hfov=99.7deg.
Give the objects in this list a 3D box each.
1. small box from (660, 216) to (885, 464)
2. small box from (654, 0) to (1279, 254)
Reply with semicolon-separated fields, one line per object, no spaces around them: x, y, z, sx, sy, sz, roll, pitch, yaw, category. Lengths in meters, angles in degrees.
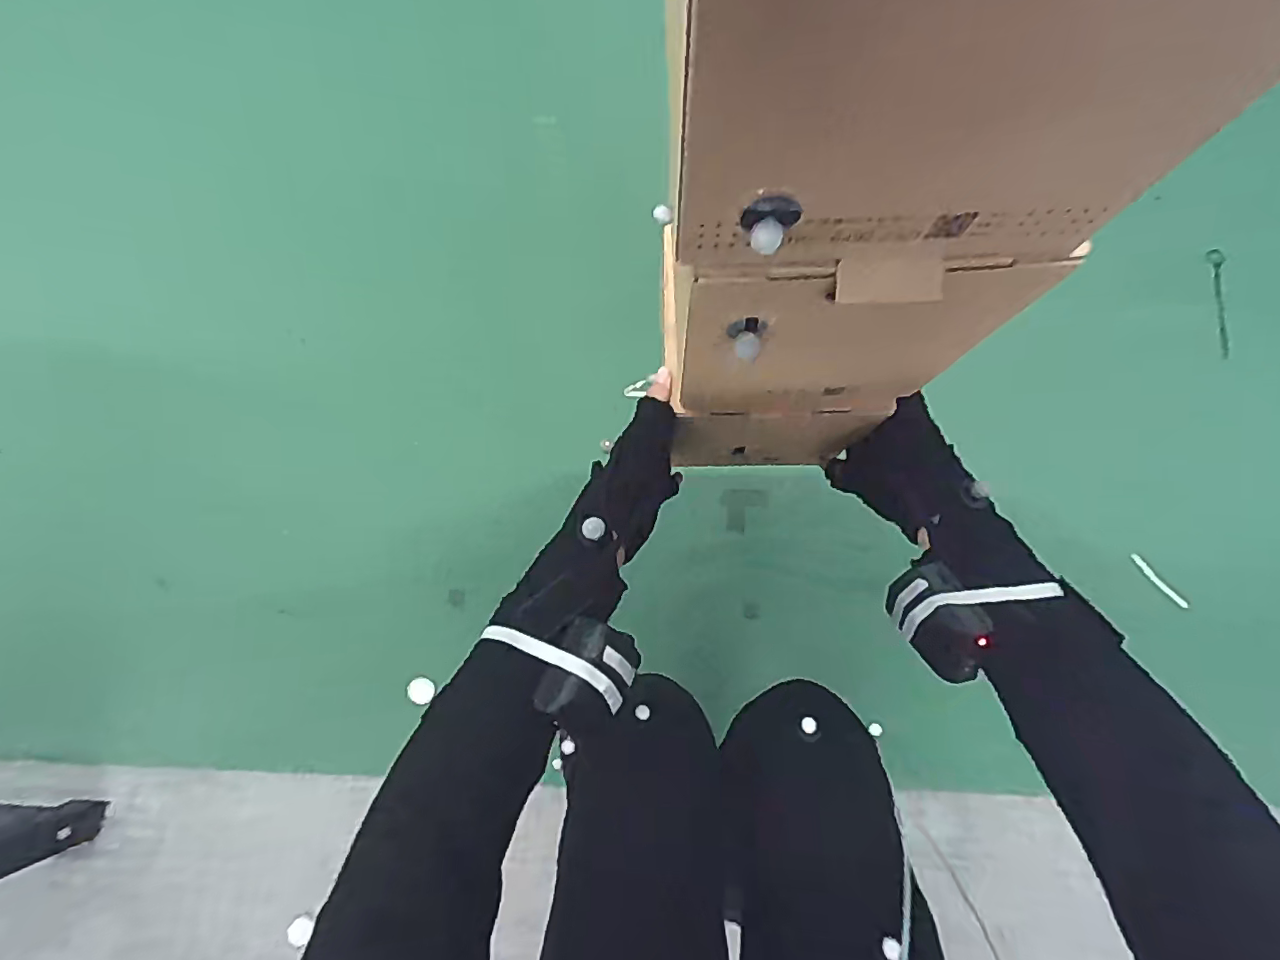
0.102;-0.117;0.495;0.168;0.176;0.179;-1;80;2;small box
0.087;-0.192;0.175;0.168;0.176;0.179;-2;78;2;small box
